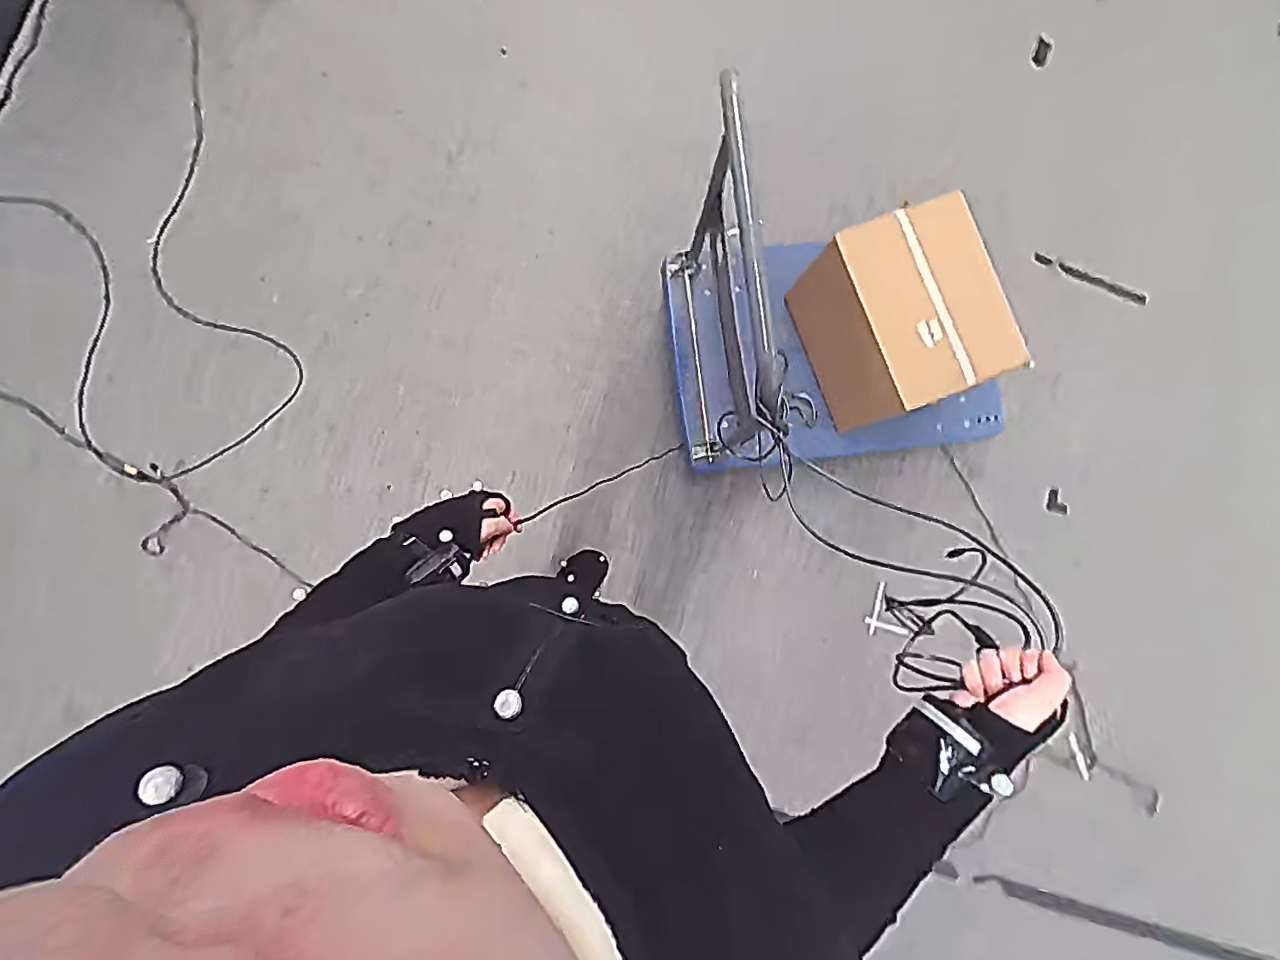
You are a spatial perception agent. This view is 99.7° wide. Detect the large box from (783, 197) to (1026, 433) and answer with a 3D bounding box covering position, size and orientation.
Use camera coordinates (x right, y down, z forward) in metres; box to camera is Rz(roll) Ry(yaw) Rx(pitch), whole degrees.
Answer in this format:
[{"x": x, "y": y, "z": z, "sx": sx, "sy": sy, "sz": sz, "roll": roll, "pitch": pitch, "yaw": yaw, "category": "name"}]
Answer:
[{"x": 0.600, "y": -0.368, "z": 1.293, "sx": 0.320, "sy": 0.320, "sz": 0.408, "roll": -21, "pitch": 89, "yaw": -6, "category": "large box"}]
